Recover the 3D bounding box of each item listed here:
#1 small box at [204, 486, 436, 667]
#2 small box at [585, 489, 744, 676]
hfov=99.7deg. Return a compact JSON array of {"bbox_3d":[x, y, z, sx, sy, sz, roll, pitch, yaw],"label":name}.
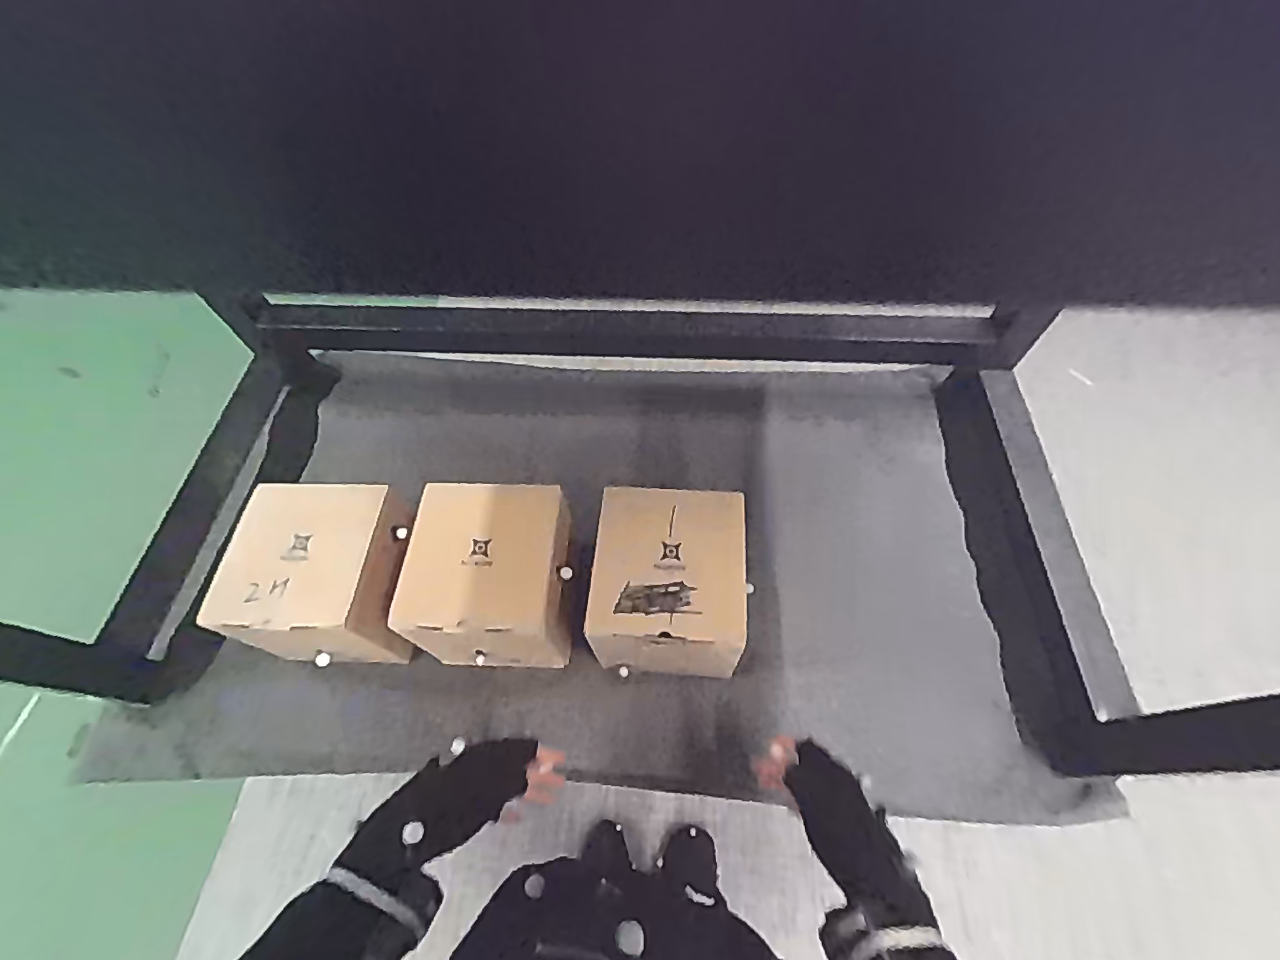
[{"bbox_3d":[-0.377,0.124,0.681,0.168,0.176,0.179,0,59,3],"label":"small box"},{"bbox_3d":[0.036,0.130,0.658,0.168,0.176,0.179,3,58,5],"label":"small box"}]
